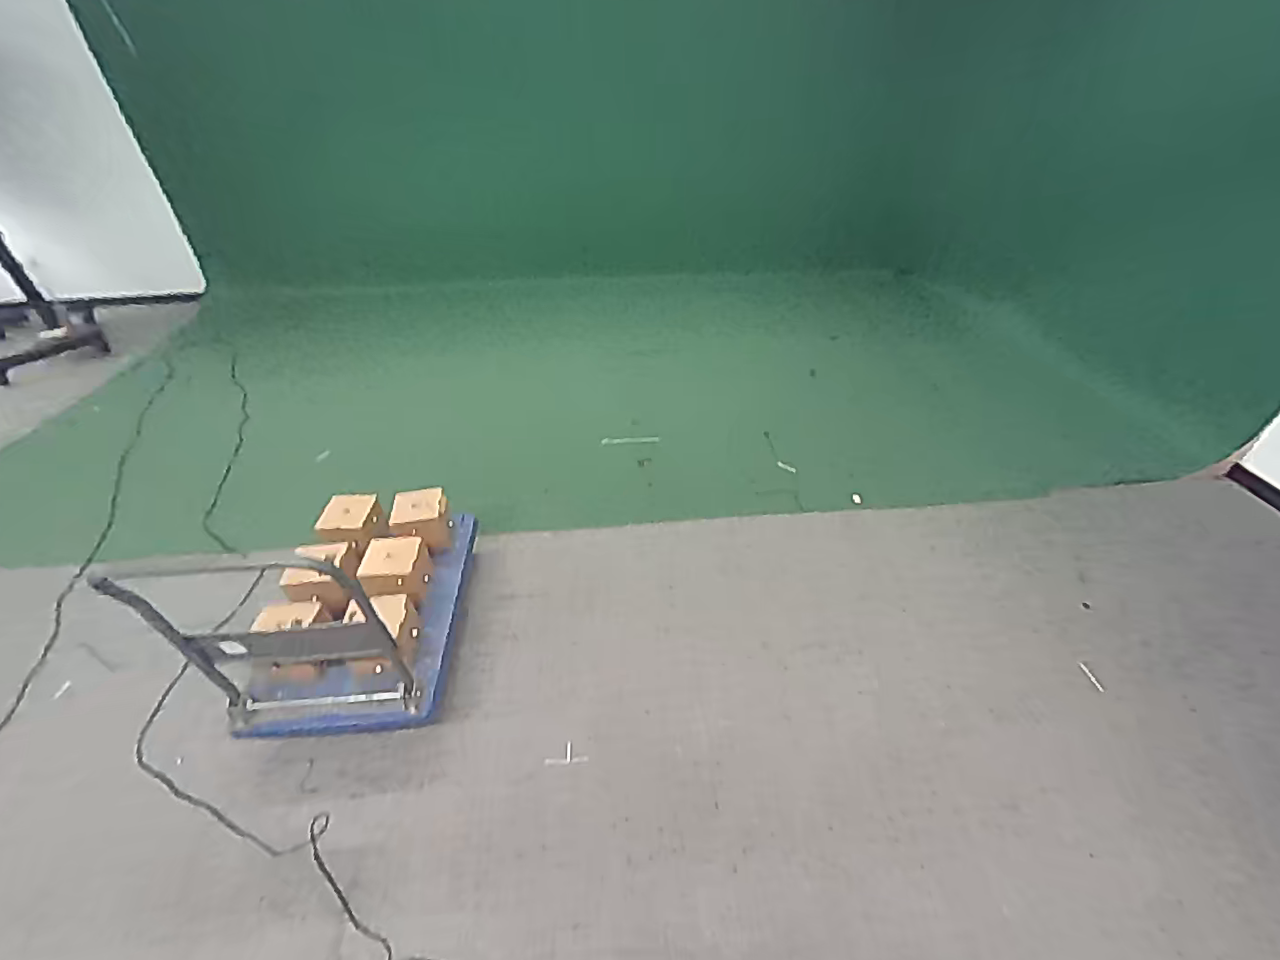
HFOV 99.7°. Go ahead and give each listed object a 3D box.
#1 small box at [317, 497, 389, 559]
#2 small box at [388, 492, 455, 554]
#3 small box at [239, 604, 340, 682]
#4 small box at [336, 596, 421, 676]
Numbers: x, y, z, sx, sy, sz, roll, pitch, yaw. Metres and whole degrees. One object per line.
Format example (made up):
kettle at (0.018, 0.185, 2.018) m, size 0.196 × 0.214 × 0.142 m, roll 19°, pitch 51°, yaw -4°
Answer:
small box at (-1.068, 0.183, 2.030) m, size 0.168 × 0.176 × 0.179 m, roll -1°, pitch 40°, yaw -1°
small box at (-0.816, 0.164, 2.040) m, size 0.179 × 0.176 × 0.168 m, roll -2°, pitch 42°, yaw -3°
small box at (-1.052, 0.496, 1.644) m, size 0.179 × 0.176 × 0.168 m, roll -2°, pitch 39°, yaw -1°
small box at (-0.789, 0.480, 1.658) m, size 0.179 × 0.176 × 0.168 m, roll -4°, pitch 39°, yaw -5°
